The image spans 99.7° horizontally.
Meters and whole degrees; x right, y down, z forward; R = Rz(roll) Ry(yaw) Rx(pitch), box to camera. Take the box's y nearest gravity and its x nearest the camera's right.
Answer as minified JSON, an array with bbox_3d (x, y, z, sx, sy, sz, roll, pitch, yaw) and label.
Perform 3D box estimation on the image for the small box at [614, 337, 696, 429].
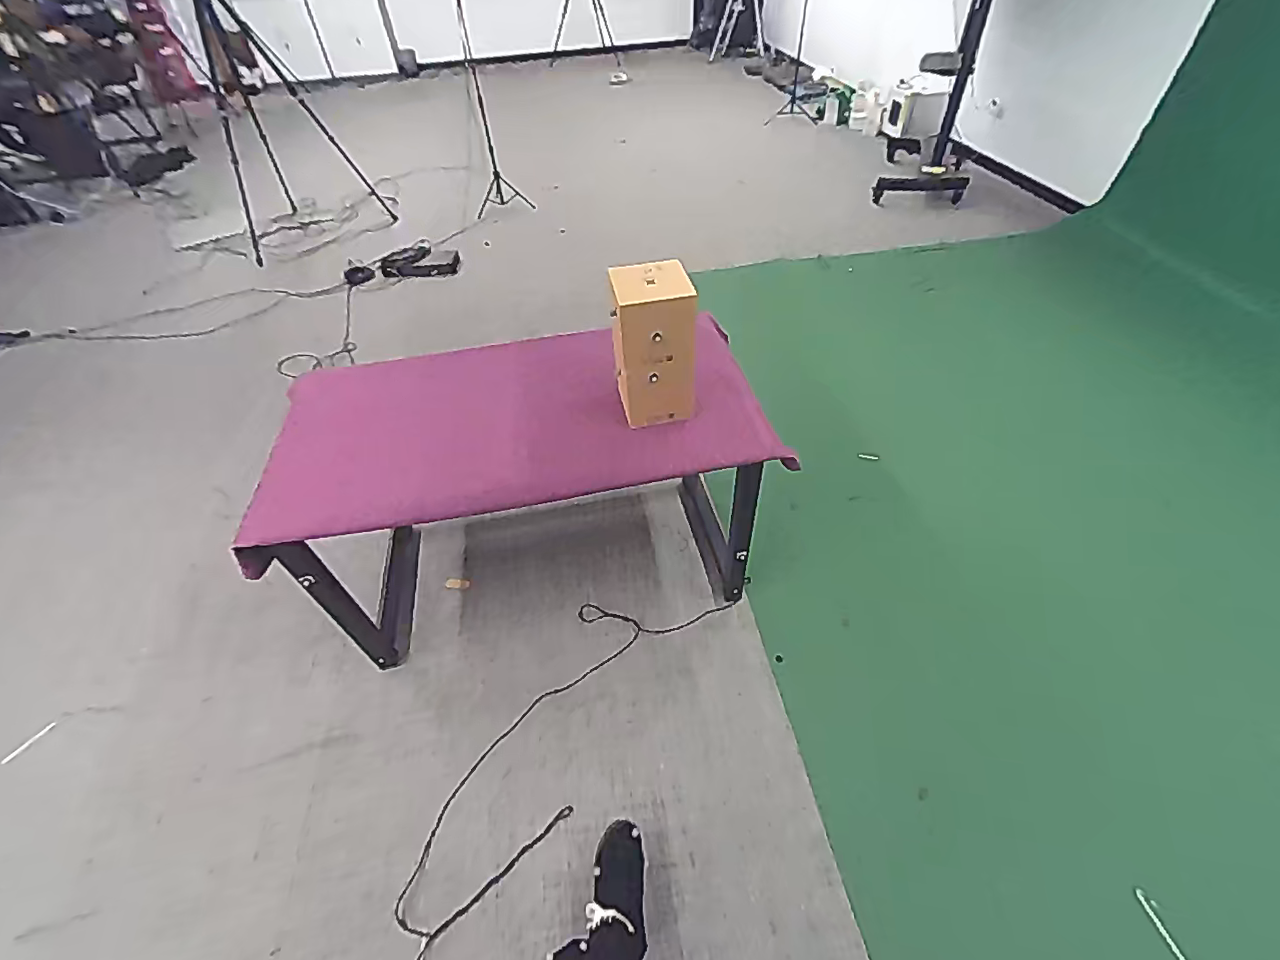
[{"bbox_3d":[0.035,-0.252,1.334,0.168,0.176,0.179,-11,46,-5],"label":"small box"}]

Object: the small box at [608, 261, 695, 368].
[{"bbox_3d":[0.026,-0.366,1.215,0.168,0.176,0.179,-9,46,-5],"label":"small box"}]
